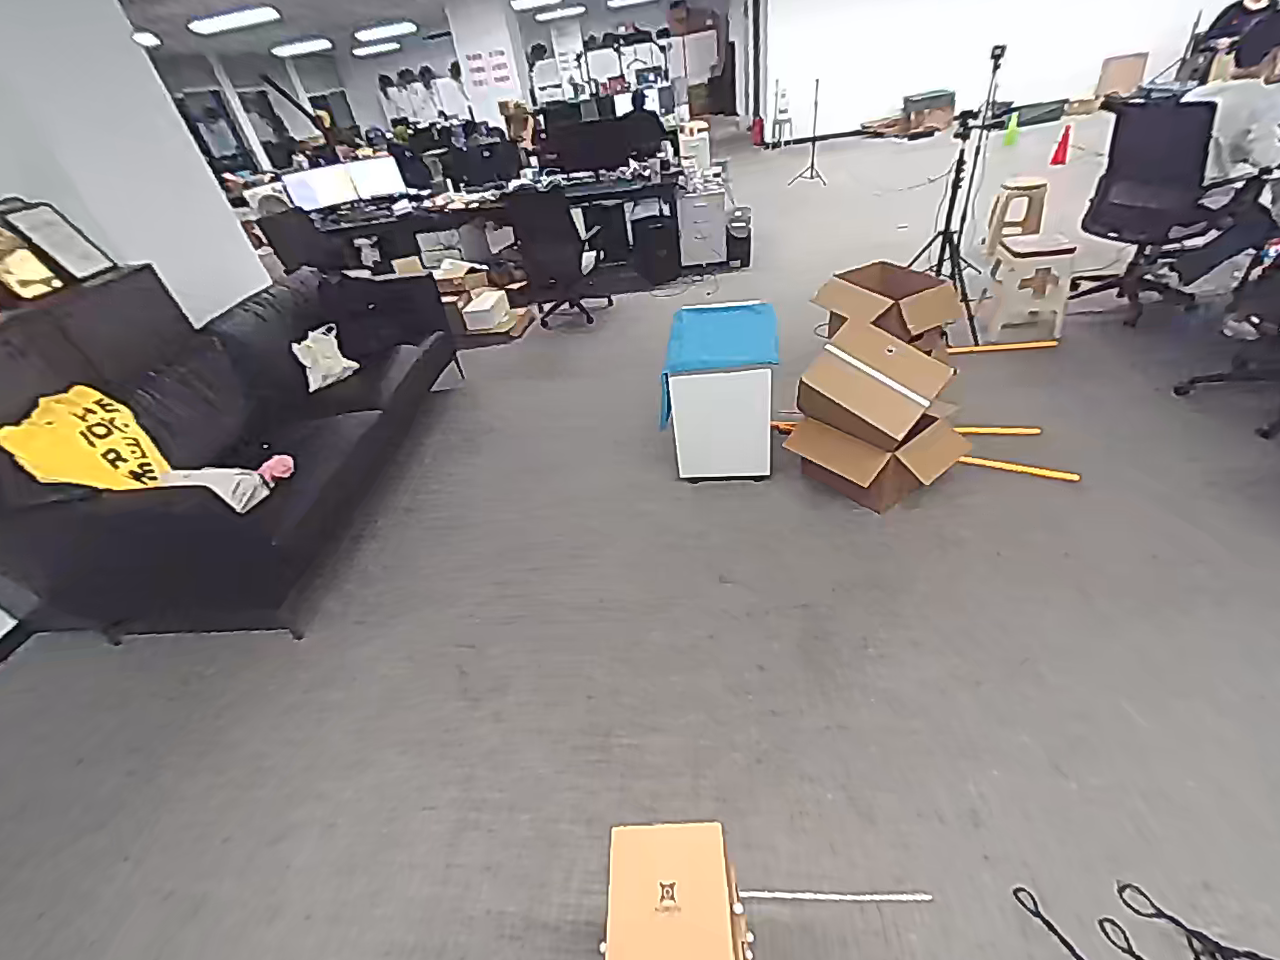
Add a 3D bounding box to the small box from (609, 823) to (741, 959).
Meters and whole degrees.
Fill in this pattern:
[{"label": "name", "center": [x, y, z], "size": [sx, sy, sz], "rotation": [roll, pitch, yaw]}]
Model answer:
[{"label": "small box", "center": [0.054, 0.621, 0.774], "size": [0.168, 0.176, 0.179], "rotation": [-7, 39, 6]}]
